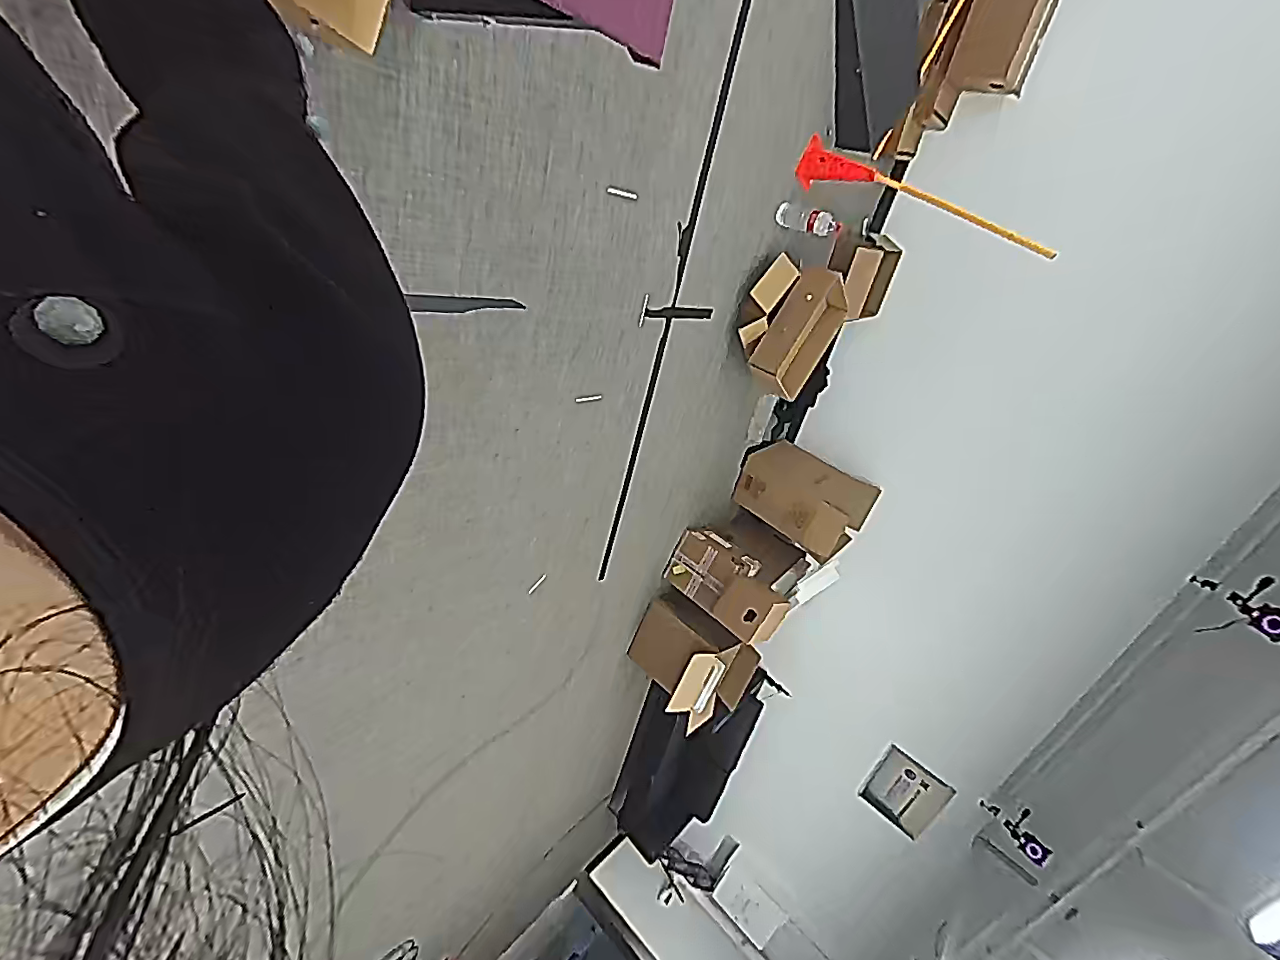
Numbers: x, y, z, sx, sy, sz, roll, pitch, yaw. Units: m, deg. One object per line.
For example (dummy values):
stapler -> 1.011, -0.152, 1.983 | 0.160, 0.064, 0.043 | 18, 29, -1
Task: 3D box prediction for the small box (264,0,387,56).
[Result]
small box -> -0.613, -0.965, 1.036 | 0.179, 0.176, 0.168 | 4, 115, -55
